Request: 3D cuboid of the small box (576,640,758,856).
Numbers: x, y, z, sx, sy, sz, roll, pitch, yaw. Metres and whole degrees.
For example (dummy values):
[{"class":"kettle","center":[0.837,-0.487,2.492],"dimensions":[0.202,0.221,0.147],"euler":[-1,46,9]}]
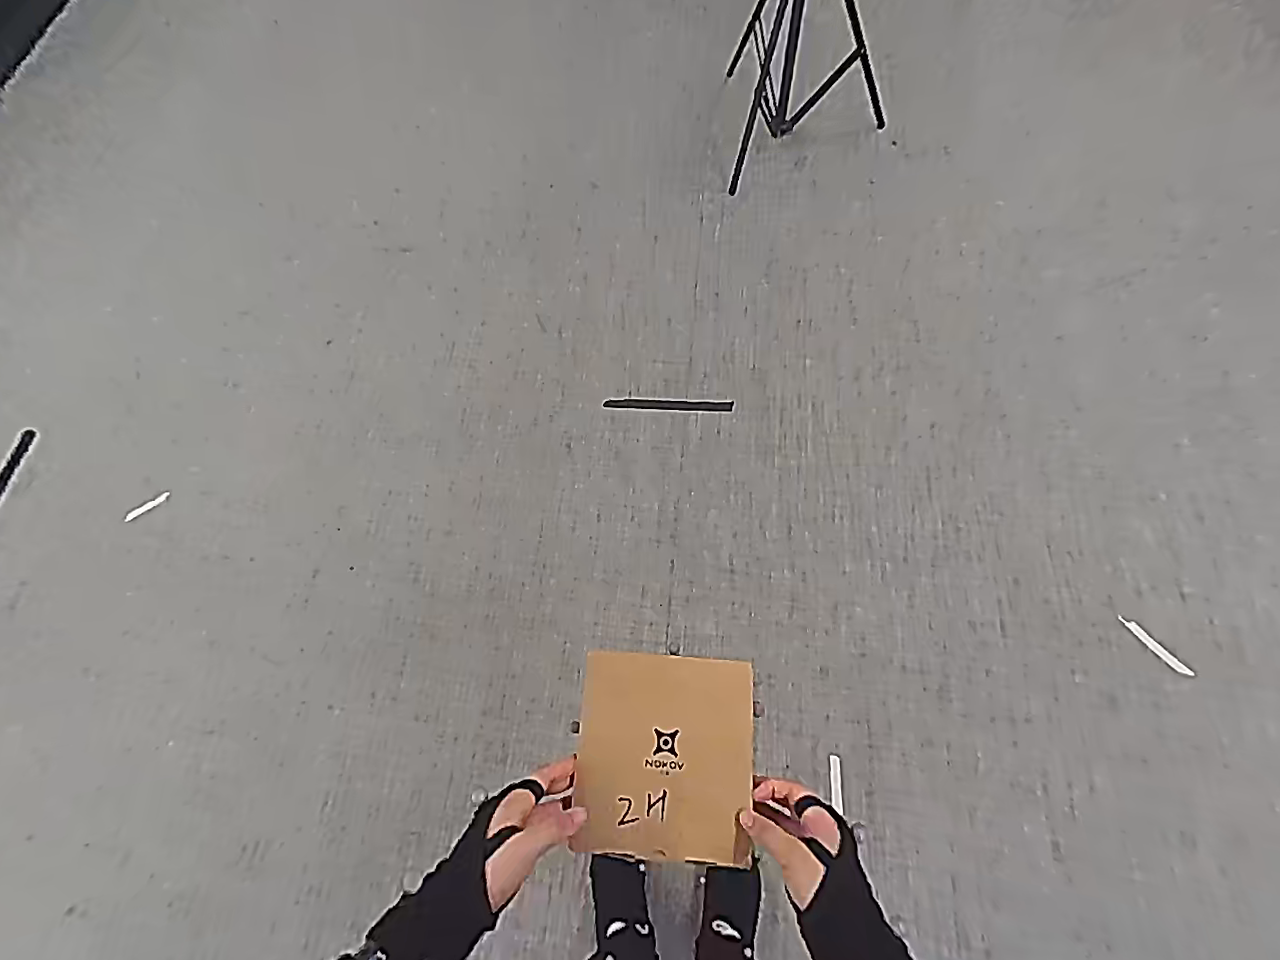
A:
[{"class":"small box","center":[0.031,0.274,0.585],"dimensions":[0.168,0.176,0.179],"euler":[3,71,3]}]
